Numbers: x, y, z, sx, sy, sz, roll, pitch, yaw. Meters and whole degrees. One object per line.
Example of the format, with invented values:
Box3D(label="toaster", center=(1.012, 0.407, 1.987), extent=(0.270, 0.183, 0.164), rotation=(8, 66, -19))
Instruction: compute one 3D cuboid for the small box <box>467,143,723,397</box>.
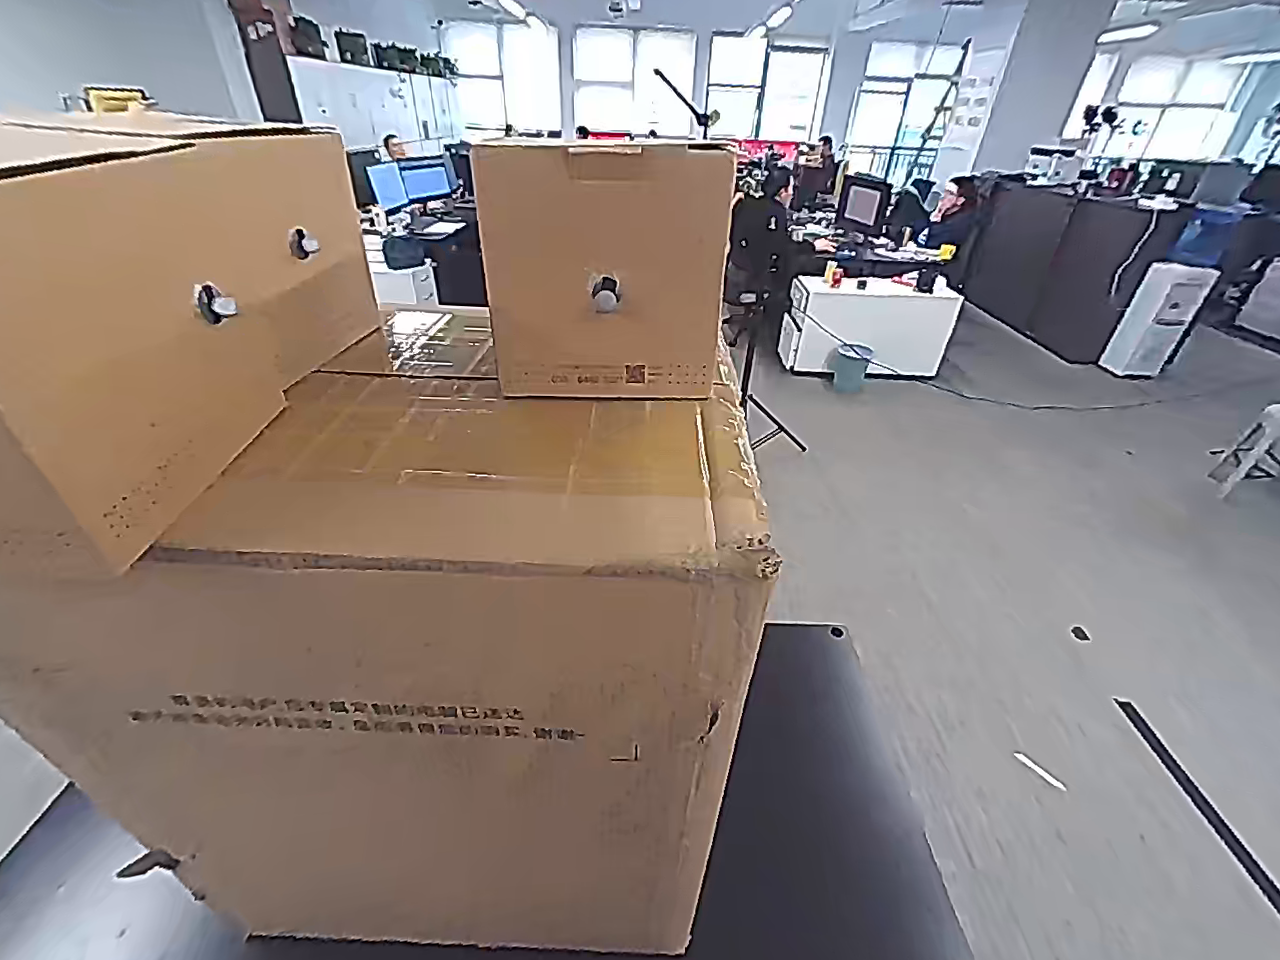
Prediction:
Box3D(label="small box", center=(-0.028, -0.176, 0.448), extent=(0.168, 0.176, 0.179), rotation=(-1, 33, -2))
